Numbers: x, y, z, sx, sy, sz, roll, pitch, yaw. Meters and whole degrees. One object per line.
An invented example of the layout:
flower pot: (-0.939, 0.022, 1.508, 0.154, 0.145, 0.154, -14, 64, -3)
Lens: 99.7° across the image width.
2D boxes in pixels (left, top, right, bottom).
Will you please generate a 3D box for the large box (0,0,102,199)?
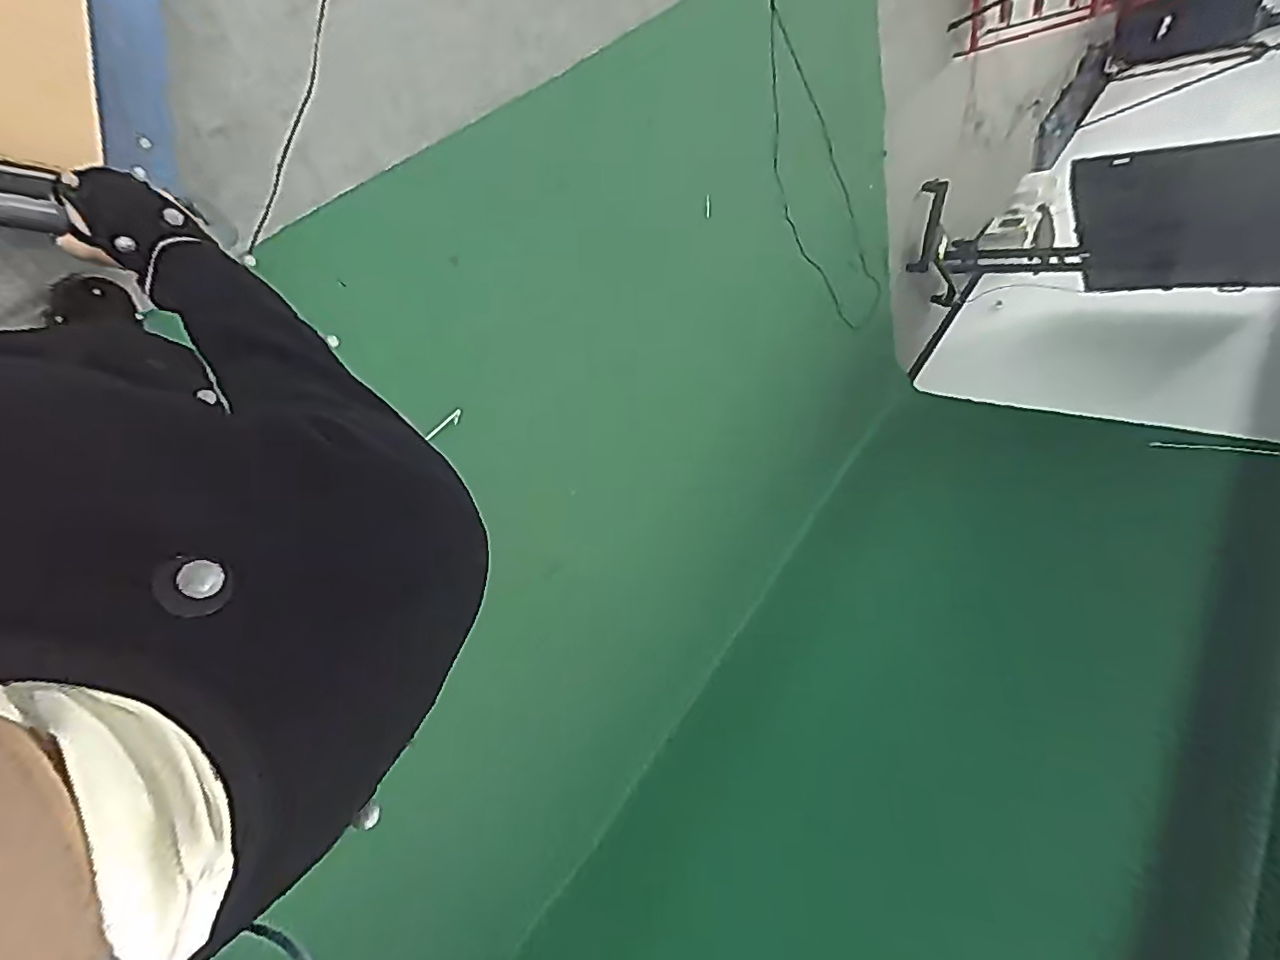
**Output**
large box: (-0.986, -0.652, 0.739, 0.320, 0.320, 0.408, -8, 109, -46)
